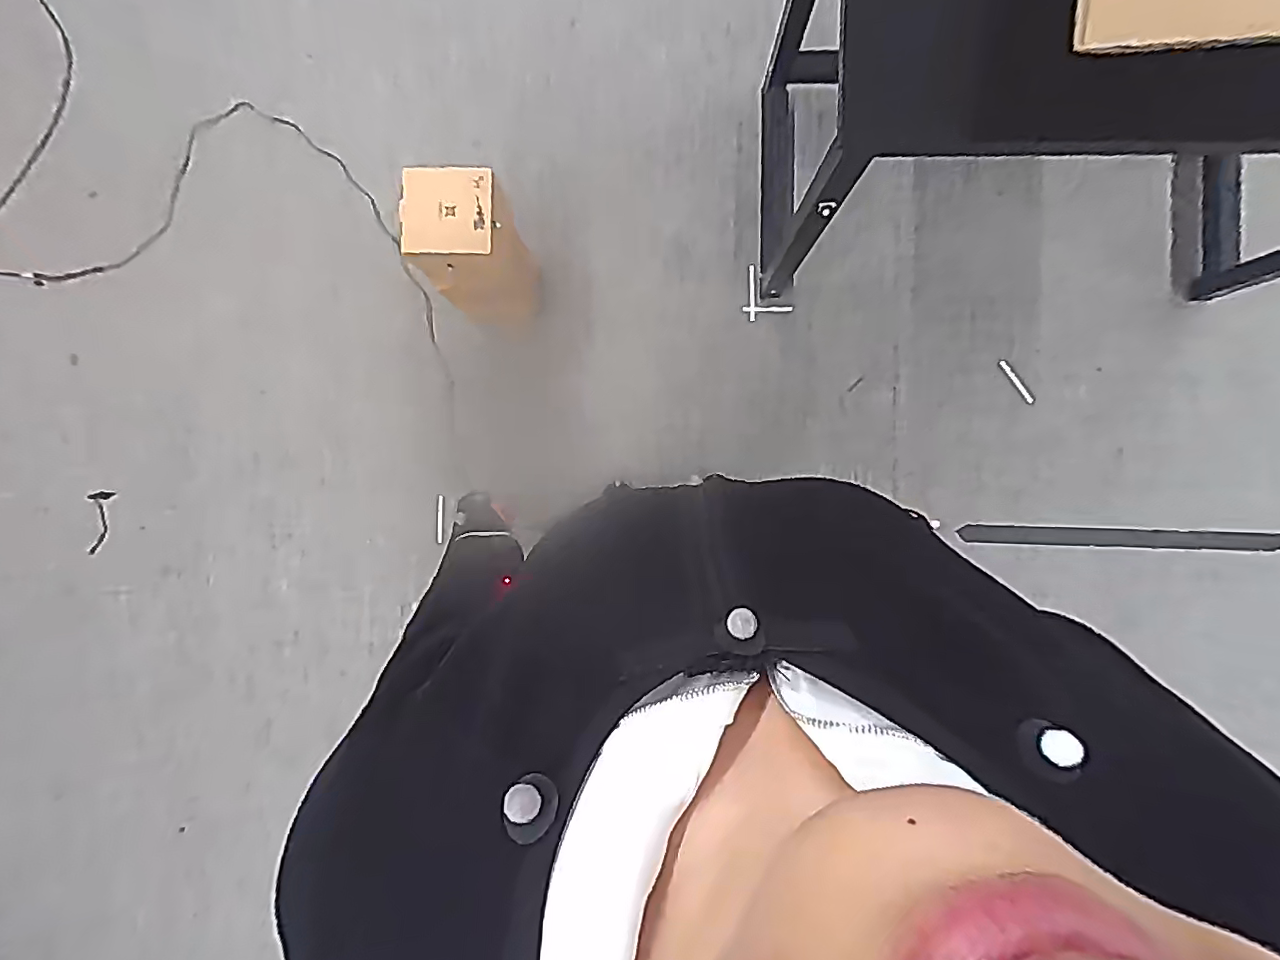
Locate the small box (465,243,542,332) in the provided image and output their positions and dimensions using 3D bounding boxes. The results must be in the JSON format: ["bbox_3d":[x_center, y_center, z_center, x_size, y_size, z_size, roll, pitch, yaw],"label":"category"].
[{"bbox_3d":[-0.360,-0.507,1.438,0.168,0.176,0.179,-3,91,3],"label":"small box"}]

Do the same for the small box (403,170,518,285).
[{"bbox_3d":[-0.361,-0.510,1.112,0.179,0.176,0.168,1,90,2],"label":"small box"}]

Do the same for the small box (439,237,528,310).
[{"bbox_3d":[-0.369,-0.512,1.276,0.168,0.176,0.179,-6,89,2],"label":"small box"}]
